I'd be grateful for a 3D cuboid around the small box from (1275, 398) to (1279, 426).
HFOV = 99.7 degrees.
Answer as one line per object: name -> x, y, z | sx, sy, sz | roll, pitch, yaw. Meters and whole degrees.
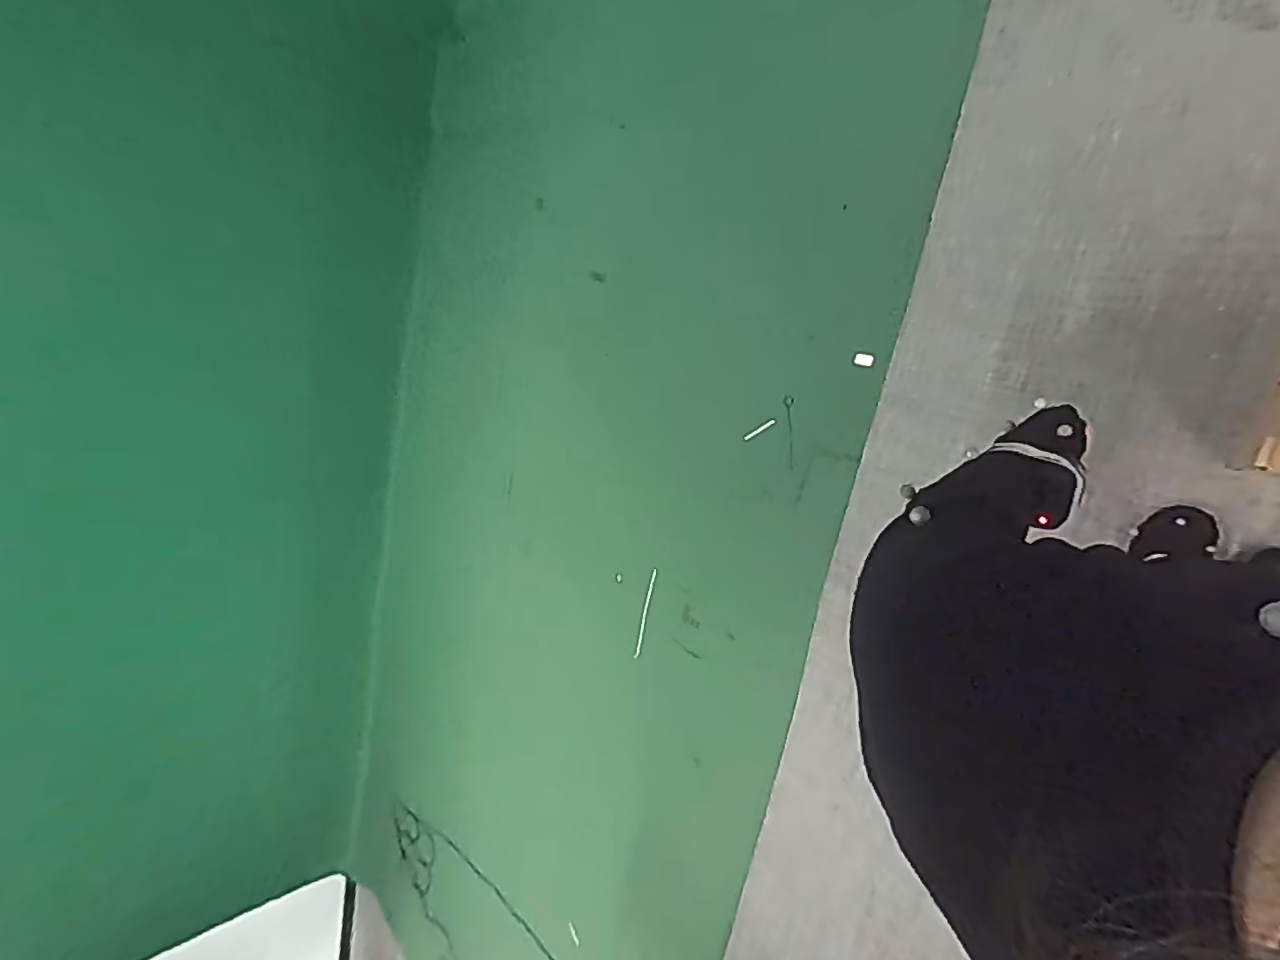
small box -> 0.820, -0.120, 0.564 | 0.168, 0.176, 0.179 | 21, 106, 41
